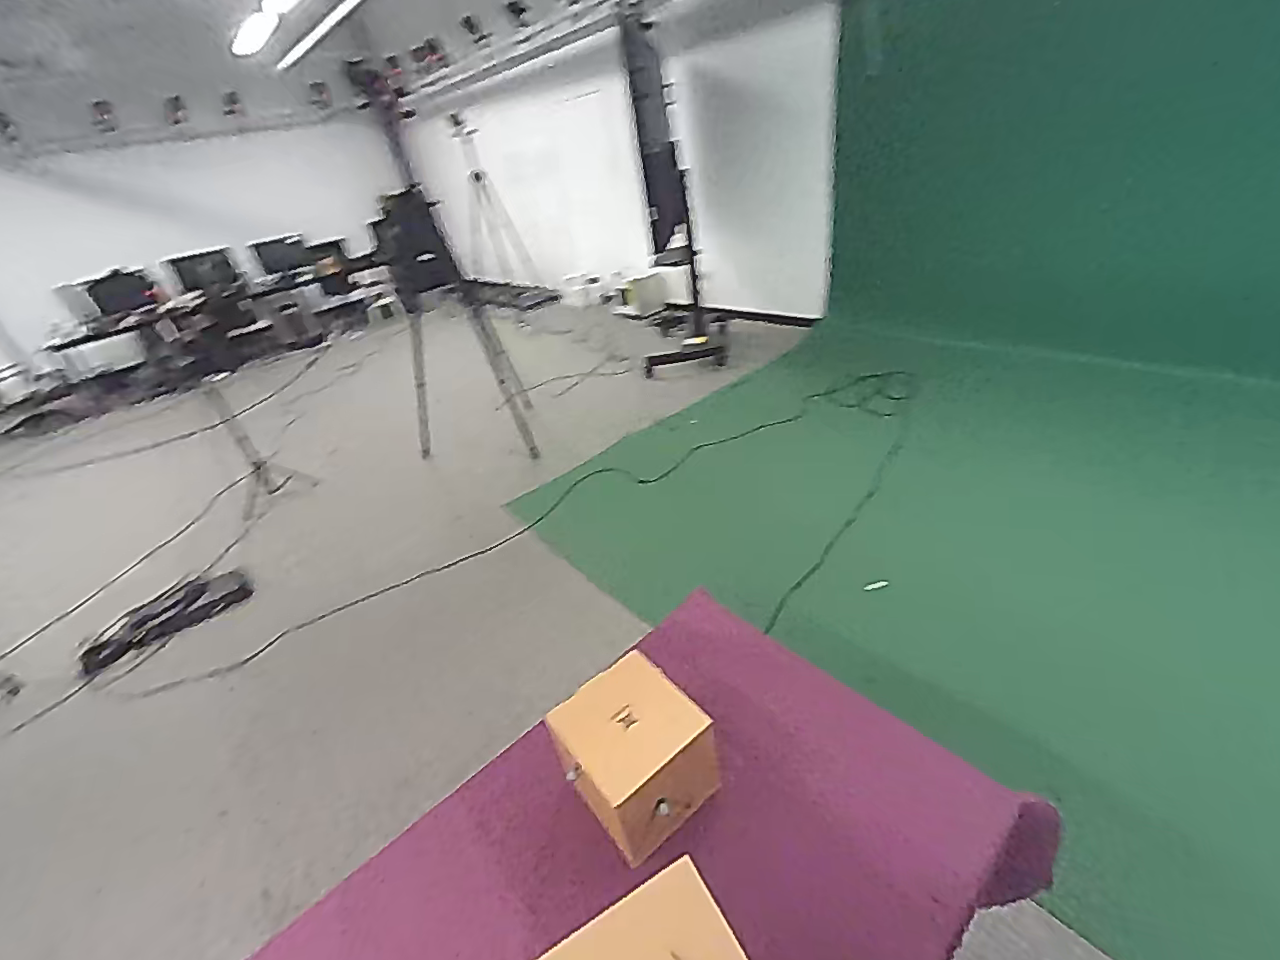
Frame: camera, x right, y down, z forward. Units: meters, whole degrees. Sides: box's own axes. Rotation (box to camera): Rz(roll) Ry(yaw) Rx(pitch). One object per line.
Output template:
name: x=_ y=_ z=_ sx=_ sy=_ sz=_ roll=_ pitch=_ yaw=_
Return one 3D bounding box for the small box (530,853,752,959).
small box: x=0.010 y=0.438 z=0.404 sx=0.179 sy=0.176 sz=0.168 roll=-20 pitch=40 yaw=-22

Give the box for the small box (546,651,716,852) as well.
small box: x=-0.008 y=0.396 z=0.786 sx=0.168 sy=0.176 sz=0.179 roll=-30 pitch=36 yaw=-27
